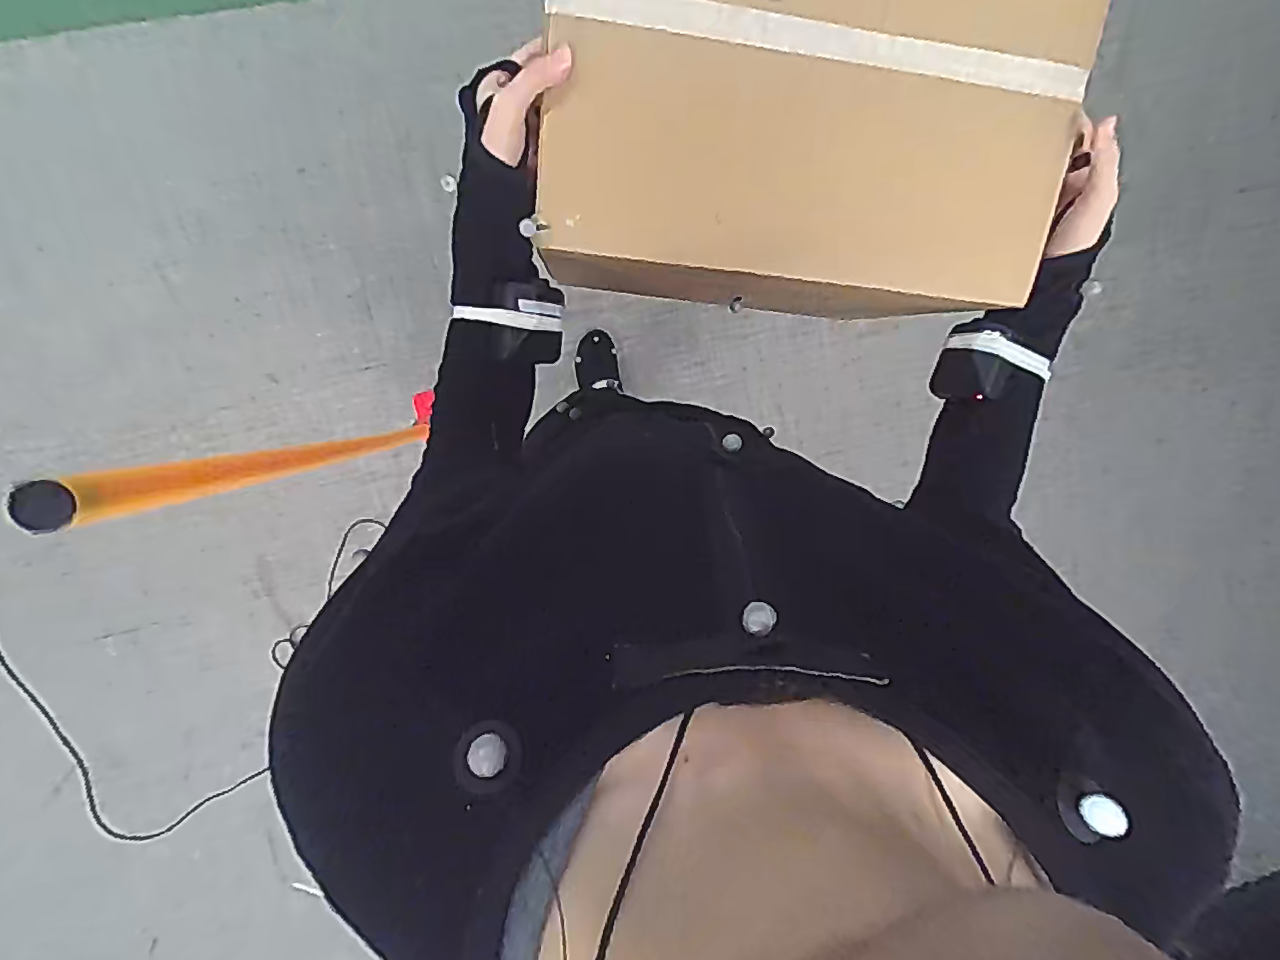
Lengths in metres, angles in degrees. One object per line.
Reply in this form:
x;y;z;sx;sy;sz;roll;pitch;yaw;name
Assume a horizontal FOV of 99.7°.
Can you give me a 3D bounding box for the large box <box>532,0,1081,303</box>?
0.117;-0.358;0.544;0.408;0.320;0.320;5;105;-6;large box
